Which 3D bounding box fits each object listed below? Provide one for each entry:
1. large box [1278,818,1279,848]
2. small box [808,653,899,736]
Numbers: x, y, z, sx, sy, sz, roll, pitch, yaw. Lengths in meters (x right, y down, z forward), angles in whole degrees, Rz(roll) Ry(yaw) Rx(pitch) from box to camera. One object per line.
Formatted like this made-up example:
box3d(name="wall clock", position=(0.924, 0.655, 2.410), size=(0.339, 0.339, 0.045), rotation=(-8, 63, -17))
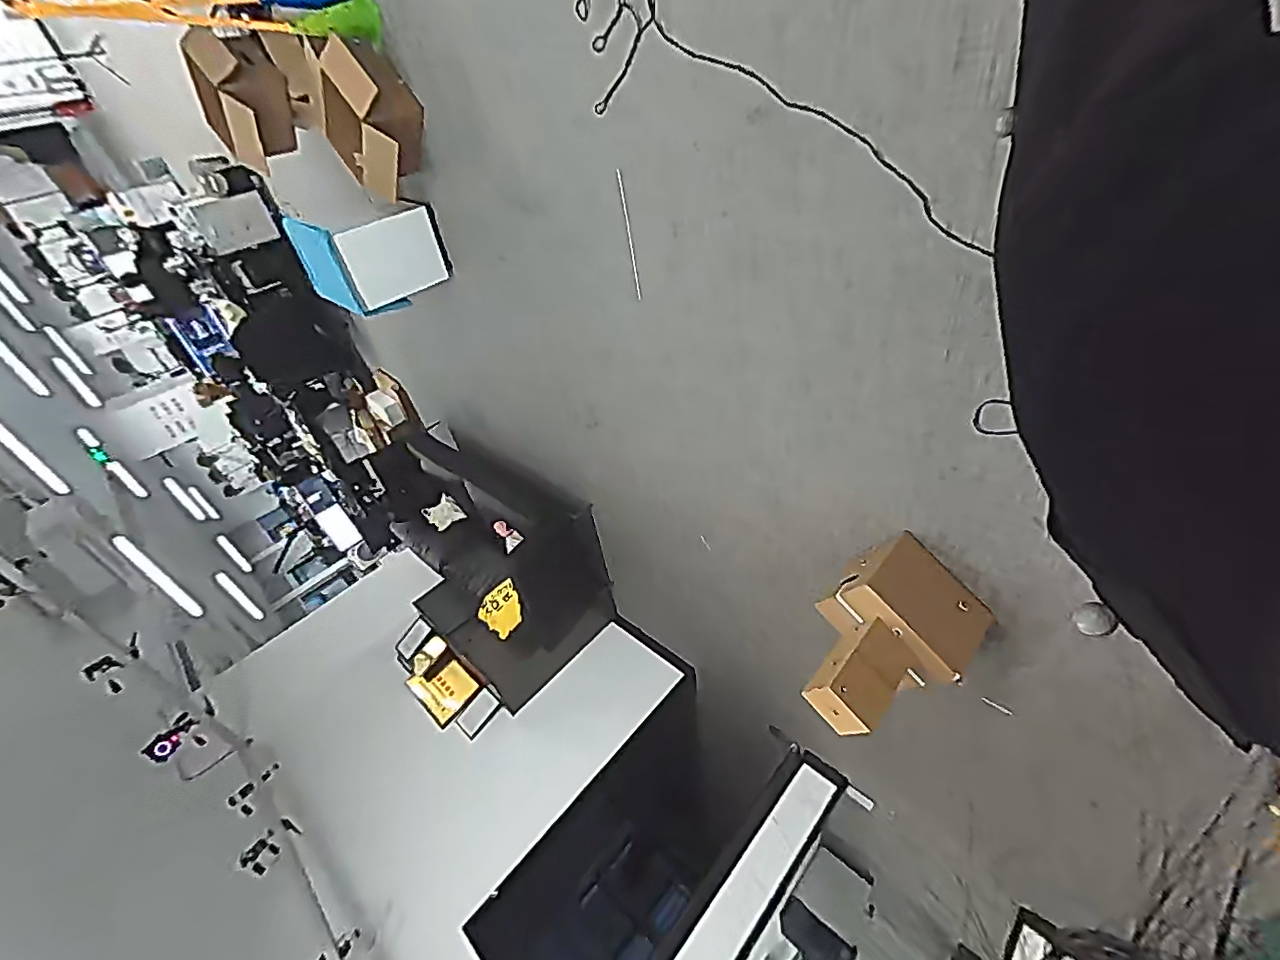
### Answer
box3d(name="large box", position=(1.696, 0.694, 1.149), size=(0.408, 0.320, 0.320), rotation=(12, 133, 47))
box3d(name="small box", position=(0.681, 0.682, 1.718), size=(0.179, 0.176, 0.168), rotation=(47, 150, 11))
